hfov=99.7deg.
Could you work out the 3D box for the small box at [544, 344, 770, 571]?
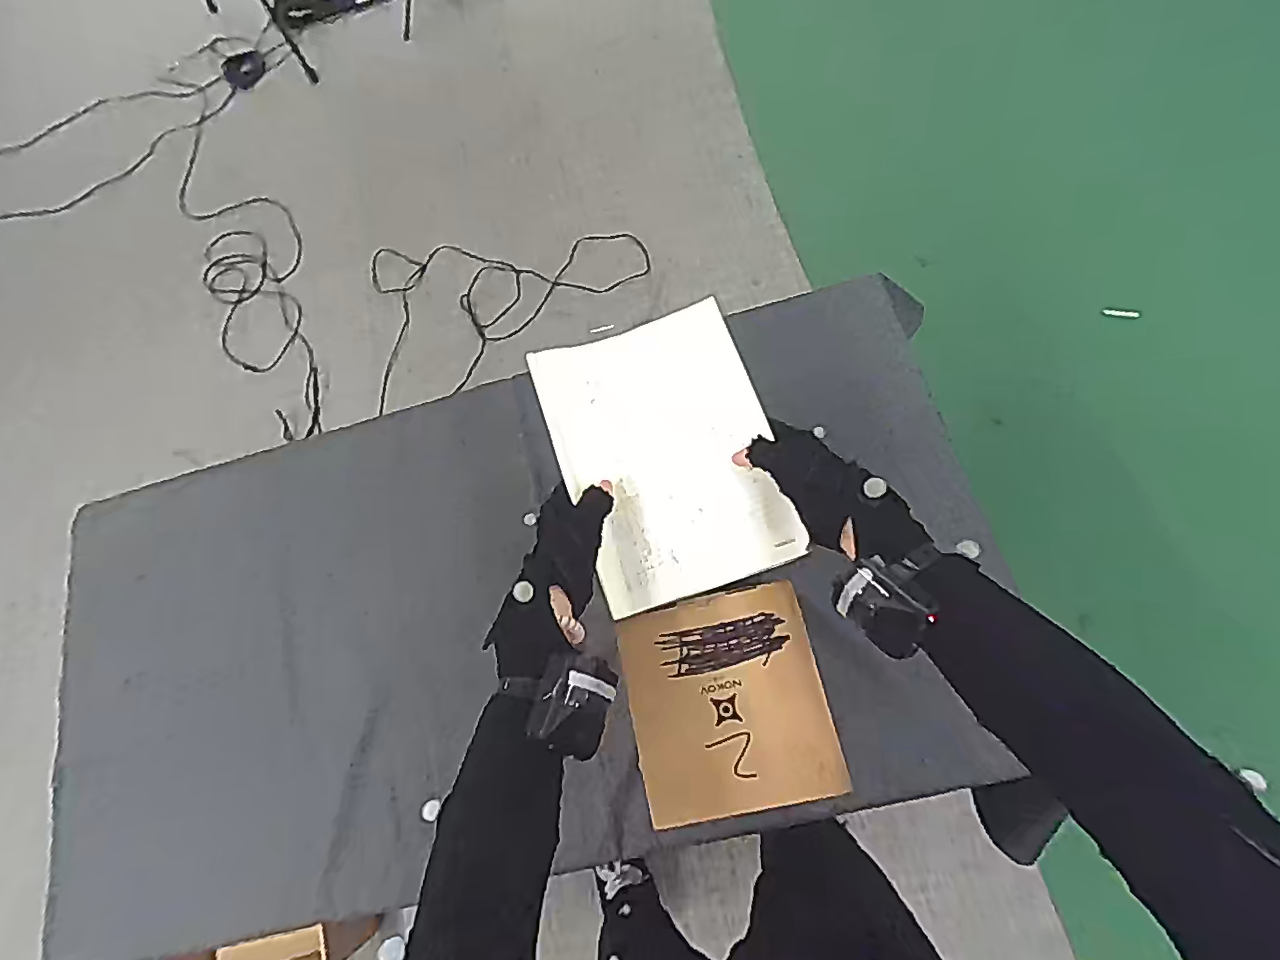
[{"bbox_3d":[0.026,-0.011,0.590,0.179,0.176,0.168,-25,72,7],"label":"small box"}]
